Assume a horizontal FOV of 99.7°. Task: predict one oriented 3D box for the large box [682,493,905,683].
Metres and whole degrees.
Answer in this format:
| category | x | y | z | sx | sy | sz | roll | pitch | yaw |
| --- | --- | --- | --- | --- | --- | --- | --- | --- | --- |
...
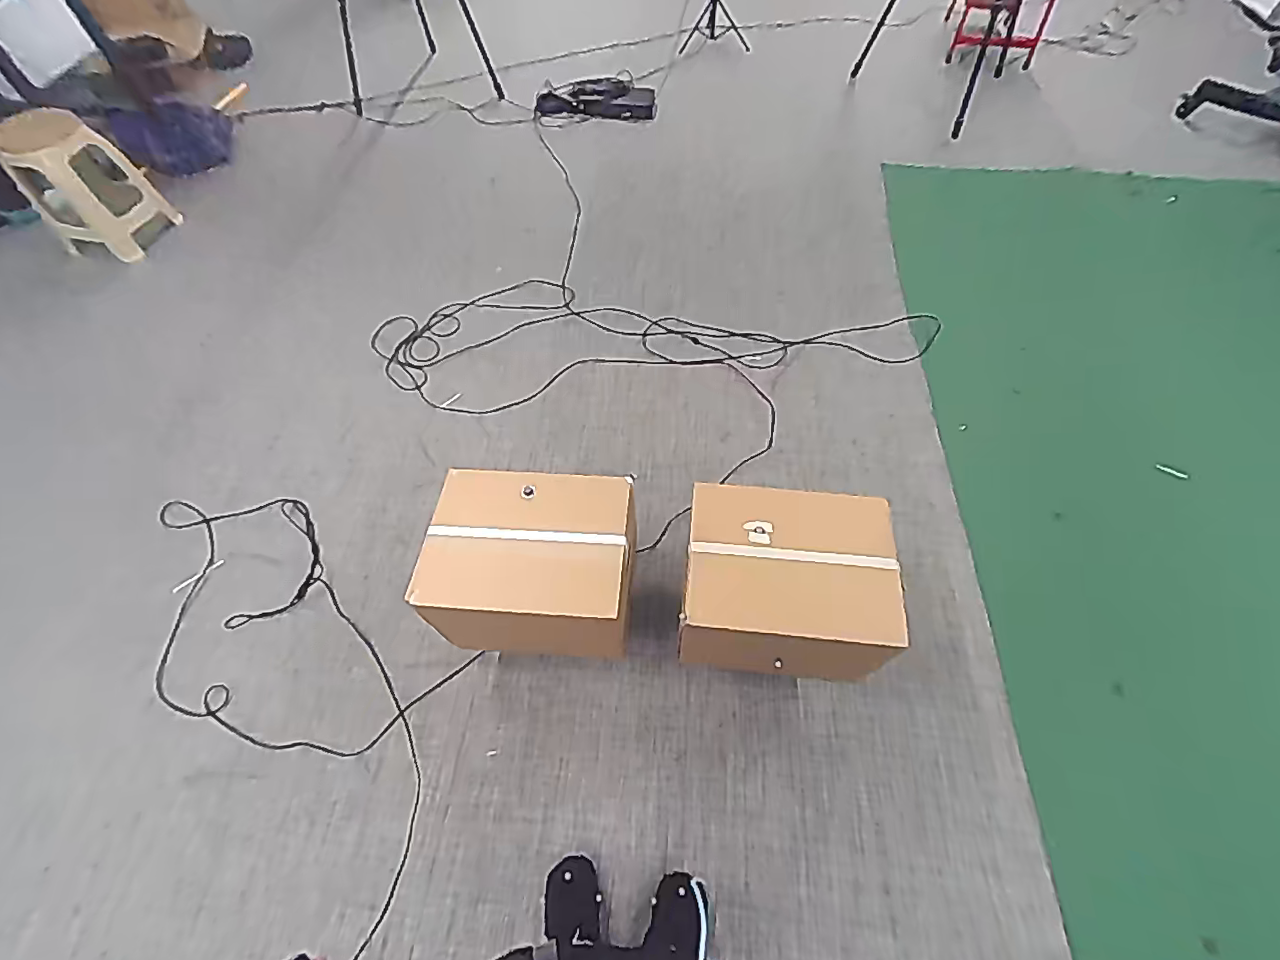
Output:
| category | x | y | z | sx | sy | sz | roll | pitch | yaw |
| --- | --- | --- | --- | --- | --- | --- | --- | --- | --- |
| large box | 0.308 | 0.248 | 1.201 | 0.408 | 0.320 | 0.320 | 5 | 57 | 5 |
